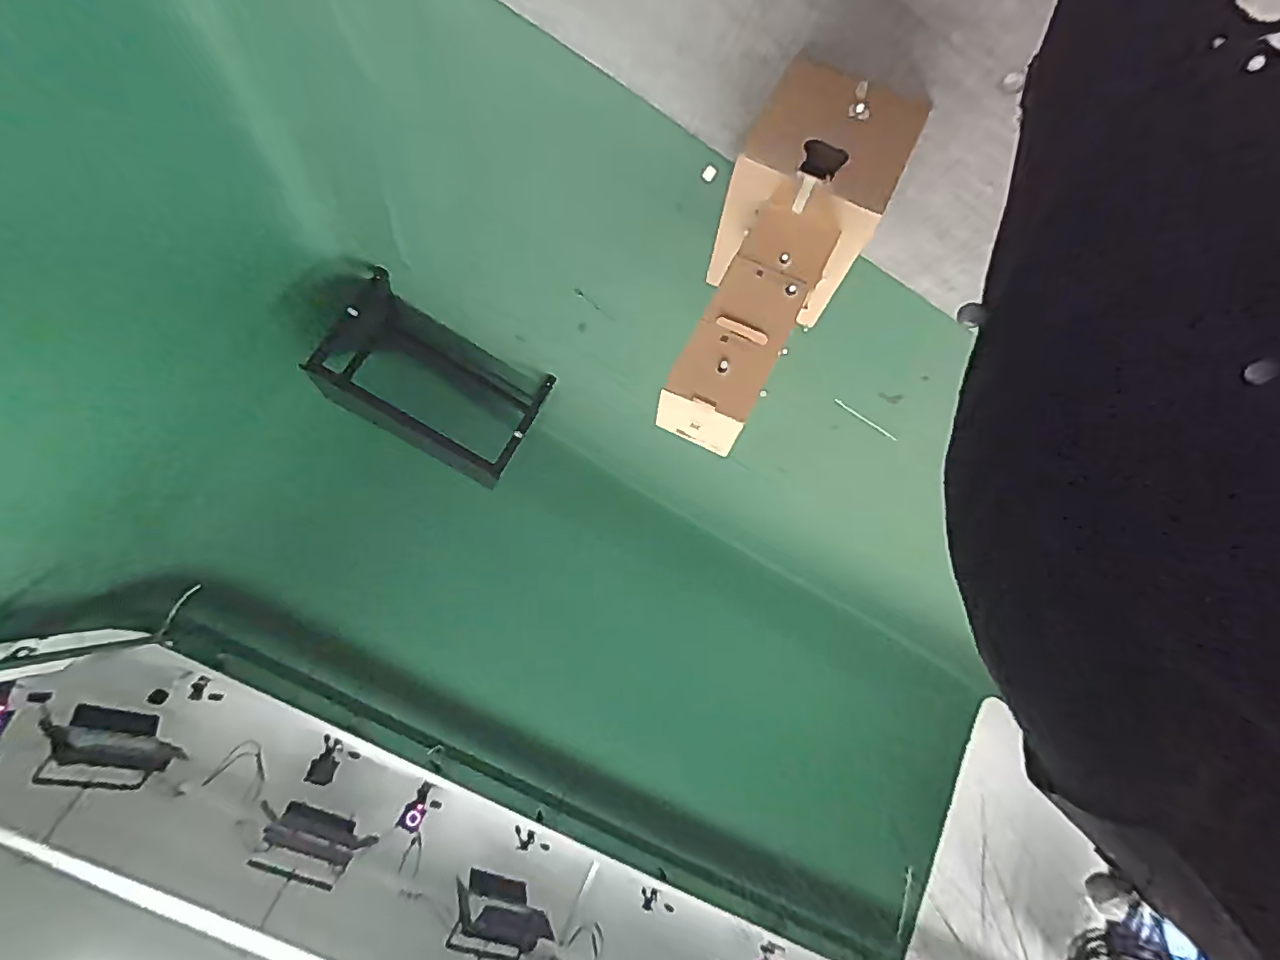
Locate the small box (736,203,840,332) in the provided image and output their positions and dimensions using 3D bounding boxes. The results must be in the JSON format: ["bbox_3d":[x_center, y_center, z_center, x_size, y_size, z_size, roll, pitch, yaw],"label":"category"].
[{"bbox_3d":[0.302,-0.456,1.165,0.179,0.176,0.168,27,163,5],"label":"small box"}]

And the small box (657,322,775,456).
[{"bbox_3d":[0.149,-0.180,1.073,0.168,0.176,0.179,27,162,6],"label":"small box"}]

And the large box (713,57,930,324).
[{"bbox_3d":[0.399,-0.656,1.274,0.320,0.320,0.408,28,165,6],"label":"large box"}]

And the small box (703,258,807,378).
[{"bbox_3d":[0.226,-0.319,1.116,0.168,0.176,0.179,26,164,6],"label":"small box"}]
